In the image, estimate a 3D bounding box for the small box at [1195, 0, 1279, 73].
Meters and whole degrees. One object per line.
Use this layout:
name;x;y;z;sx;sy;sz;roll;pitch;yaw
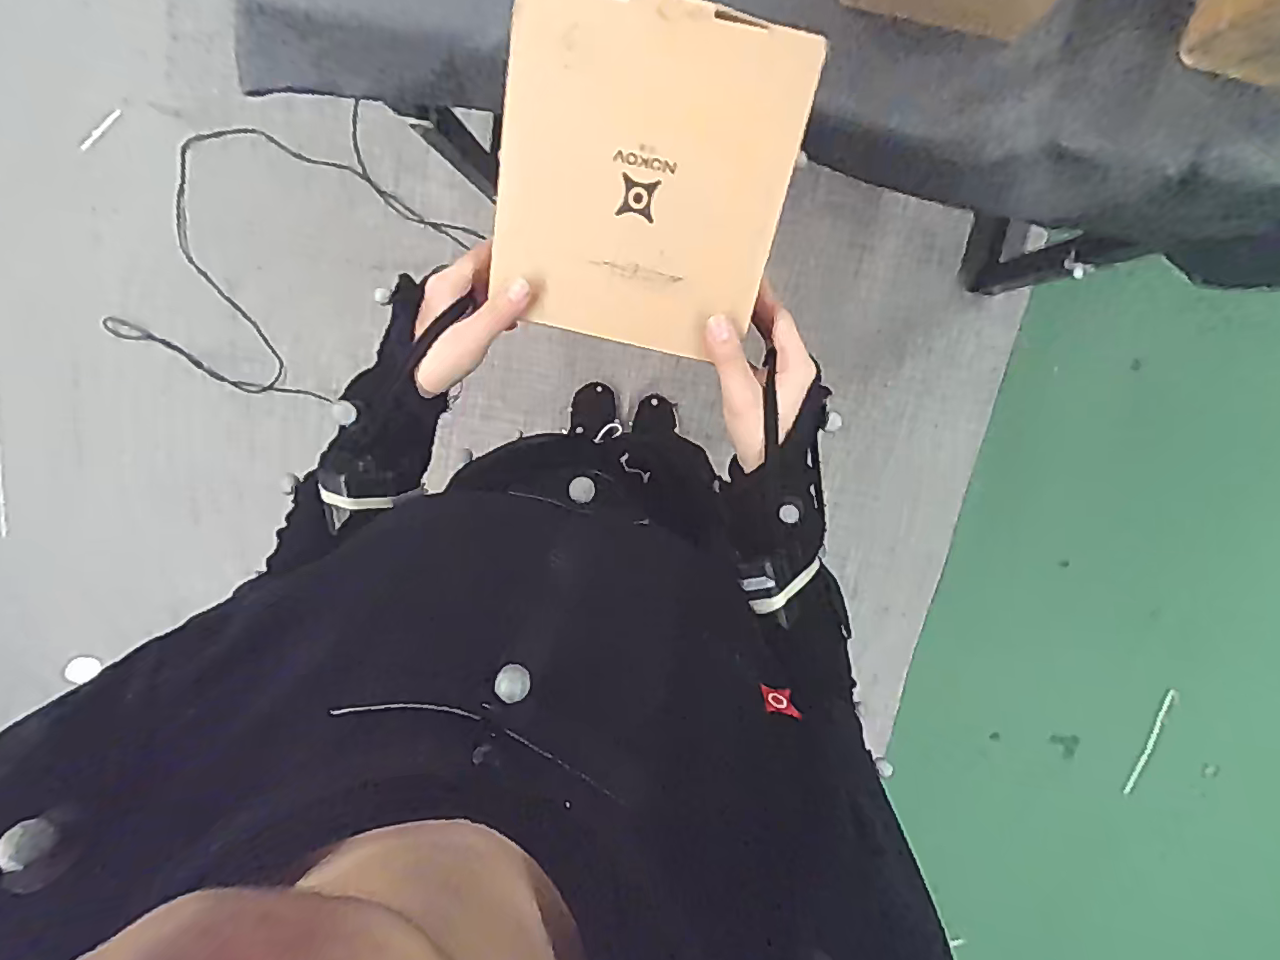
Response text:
small box;0.605;-0.454;0.413;0.168;0.176;0.179;15;102;1

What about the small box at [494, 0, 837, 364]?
small box;0.012;-0.200;0.380;0.168;0.176;0.179;13;114;1
